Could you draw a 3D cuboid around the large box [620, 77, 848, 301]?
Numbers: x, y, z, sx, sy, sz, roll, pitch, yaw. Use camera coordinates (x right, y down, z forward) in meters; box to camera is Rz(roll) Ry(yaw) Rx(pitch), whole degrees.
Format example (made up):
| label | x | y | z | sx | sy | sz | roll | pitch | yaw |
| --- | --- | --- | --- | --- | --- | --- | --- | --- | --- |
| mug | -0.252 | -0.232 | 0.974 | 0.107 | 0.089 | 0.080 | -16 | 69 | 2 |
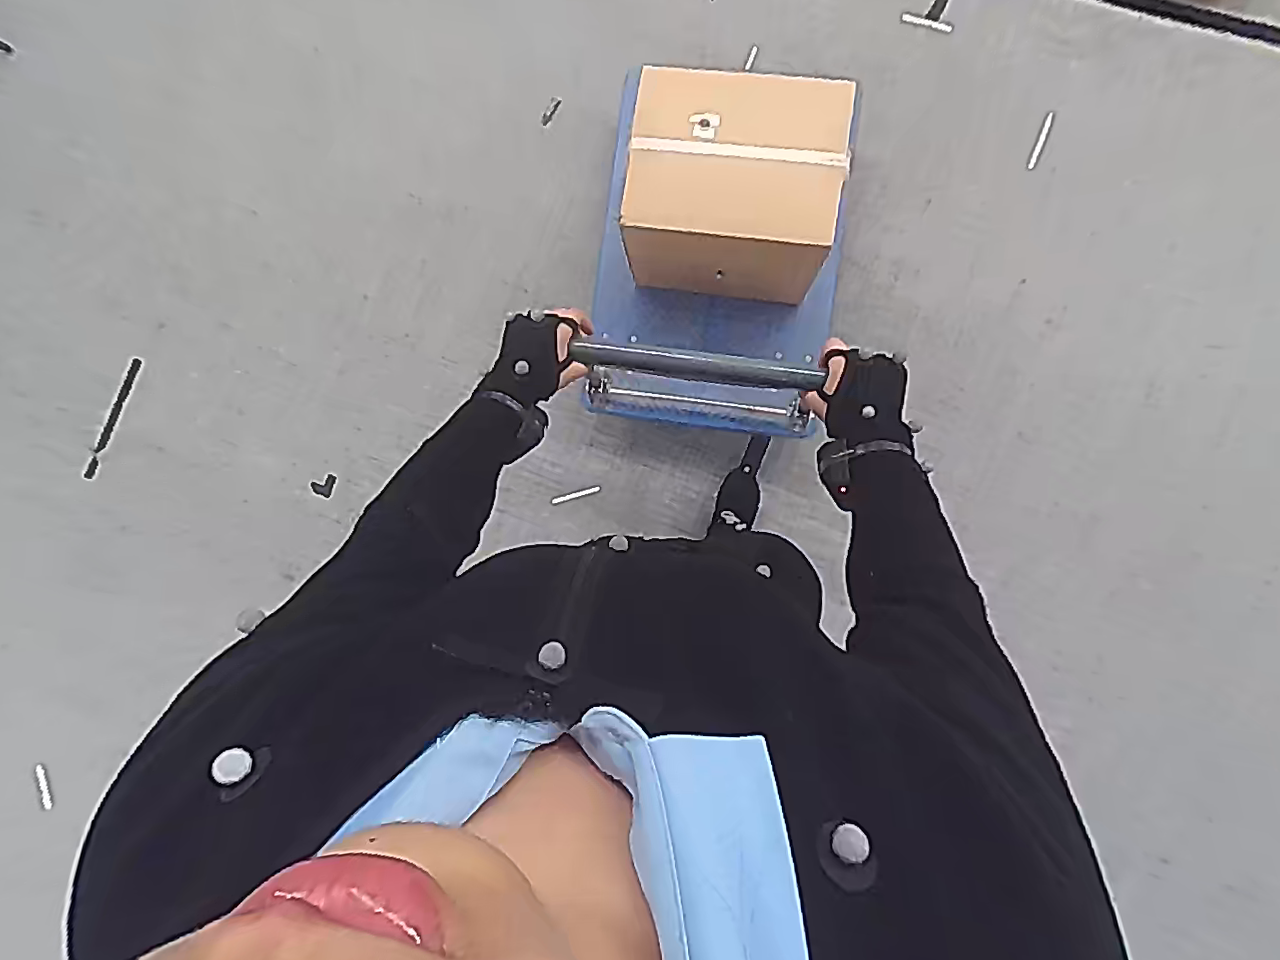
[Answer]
| label | x | y | z | sx | sy | sz | roll | pitch | yaw |
| --- | --- | --- | --- | --- | --- | --- | --- | --- | --- |
| large box | 0.195 | -0.606 | 1.177 | 0.408 | 0.320 | 0.320 | 9 | 88 | 7 |
